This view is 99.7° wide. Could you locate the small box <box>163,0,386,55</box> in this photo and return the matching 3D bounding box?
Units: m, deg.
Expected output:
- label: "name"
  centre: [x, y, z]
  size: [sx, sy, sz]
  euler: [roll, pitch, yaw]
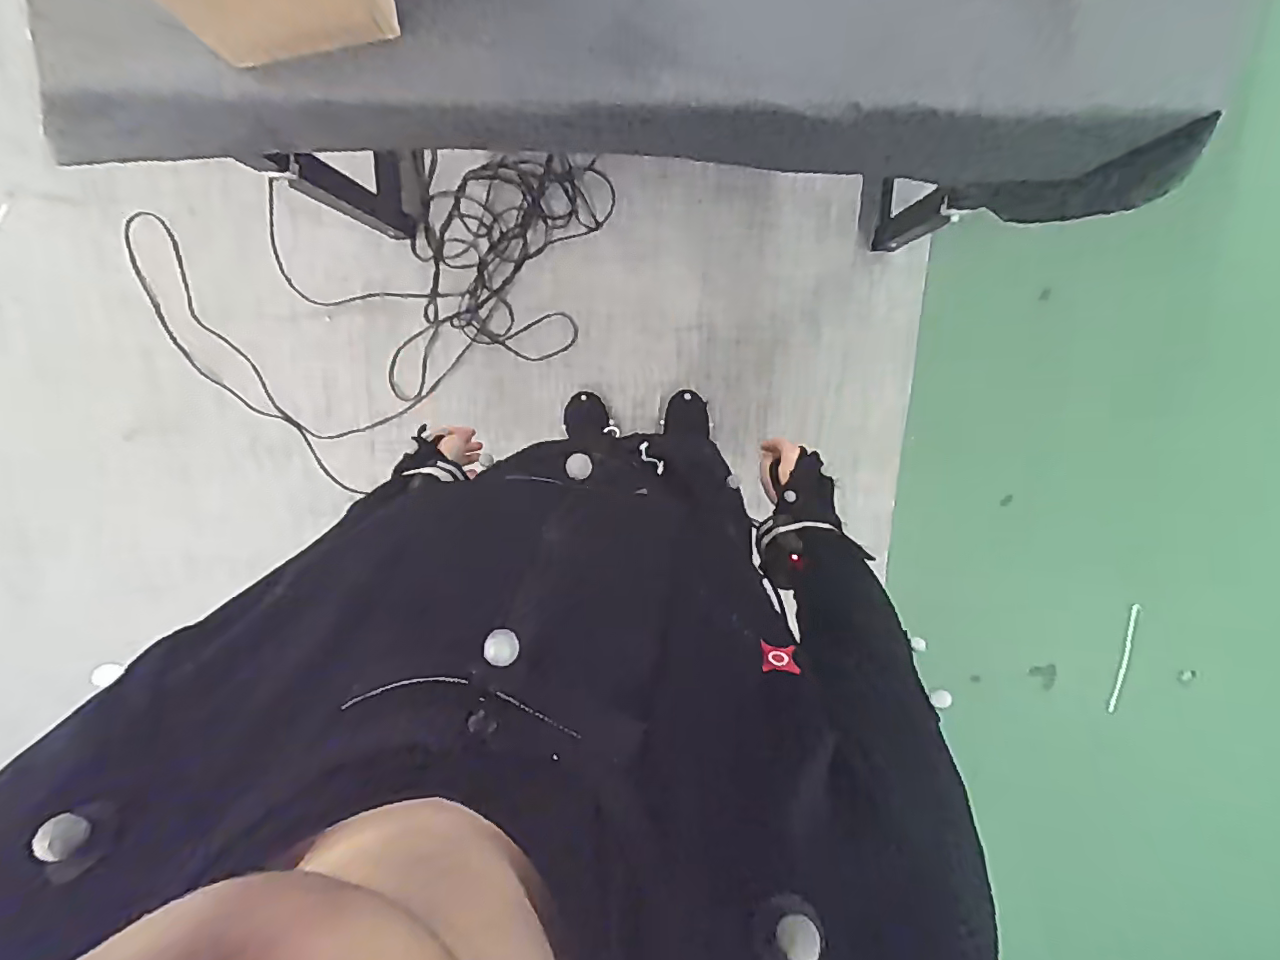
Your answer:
- label: "small box"
  centre: [-0.336, -0.499, 0.448]
  size: [0.179, 0.176, 0.168]
  euler: [-9, 100, 2]
